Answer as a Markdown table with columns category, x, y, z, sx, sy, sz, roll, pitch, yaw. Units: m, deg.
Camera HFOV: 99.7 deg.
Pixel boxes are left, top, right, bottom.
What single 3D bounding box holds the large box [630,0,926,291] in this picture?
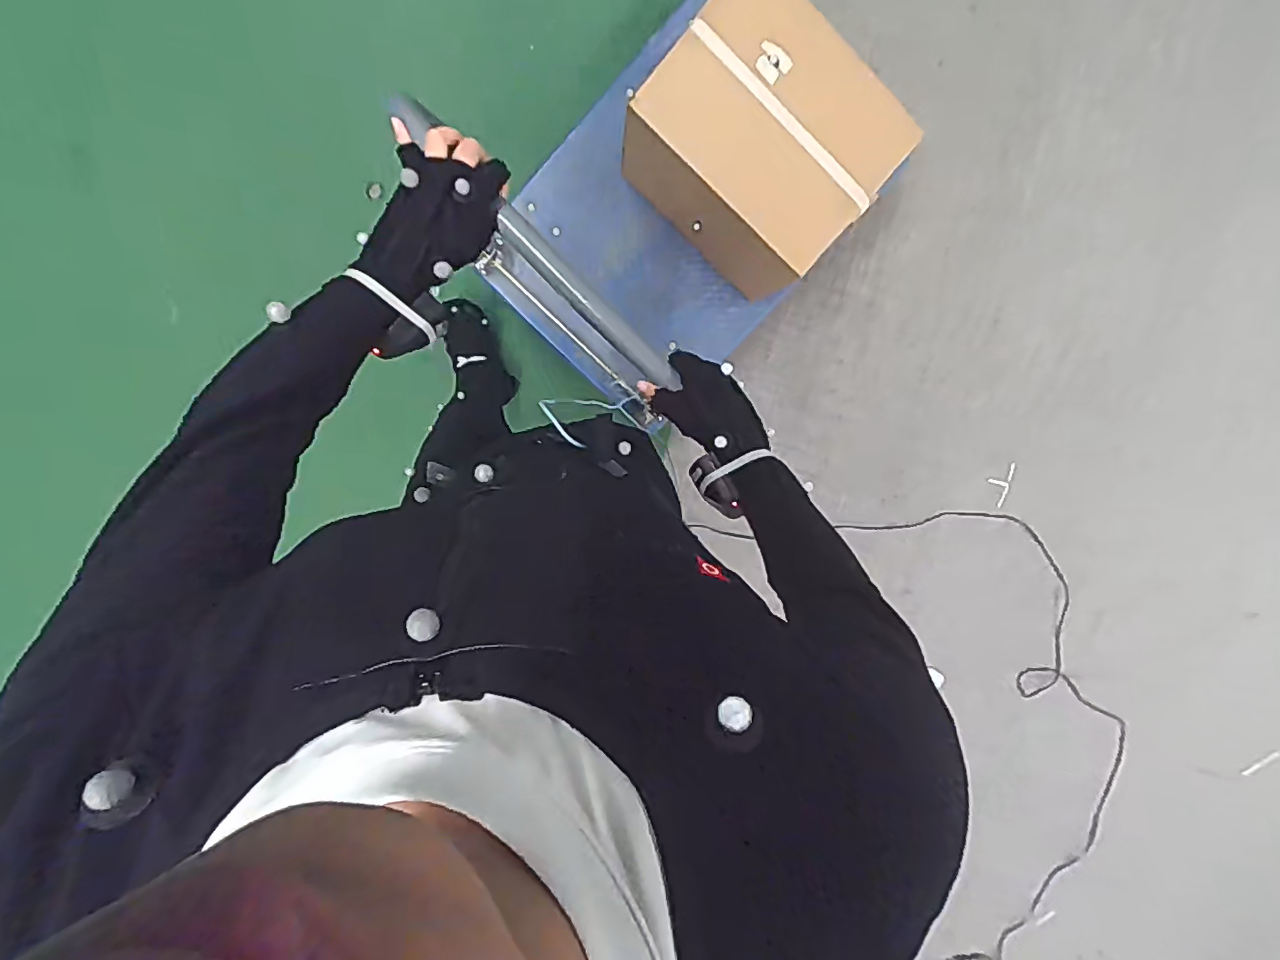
| category | x | y | z | sx | sy | sz | roll | pitch | yaw |
| --- | --- | --- | --- | --- | --- | --- | --- | --- | --- |
| large box | 0.229 | -0.632 | 1.038 | 0.408 | 0.320 | 0.320 | 40 | 95 | -9 |
